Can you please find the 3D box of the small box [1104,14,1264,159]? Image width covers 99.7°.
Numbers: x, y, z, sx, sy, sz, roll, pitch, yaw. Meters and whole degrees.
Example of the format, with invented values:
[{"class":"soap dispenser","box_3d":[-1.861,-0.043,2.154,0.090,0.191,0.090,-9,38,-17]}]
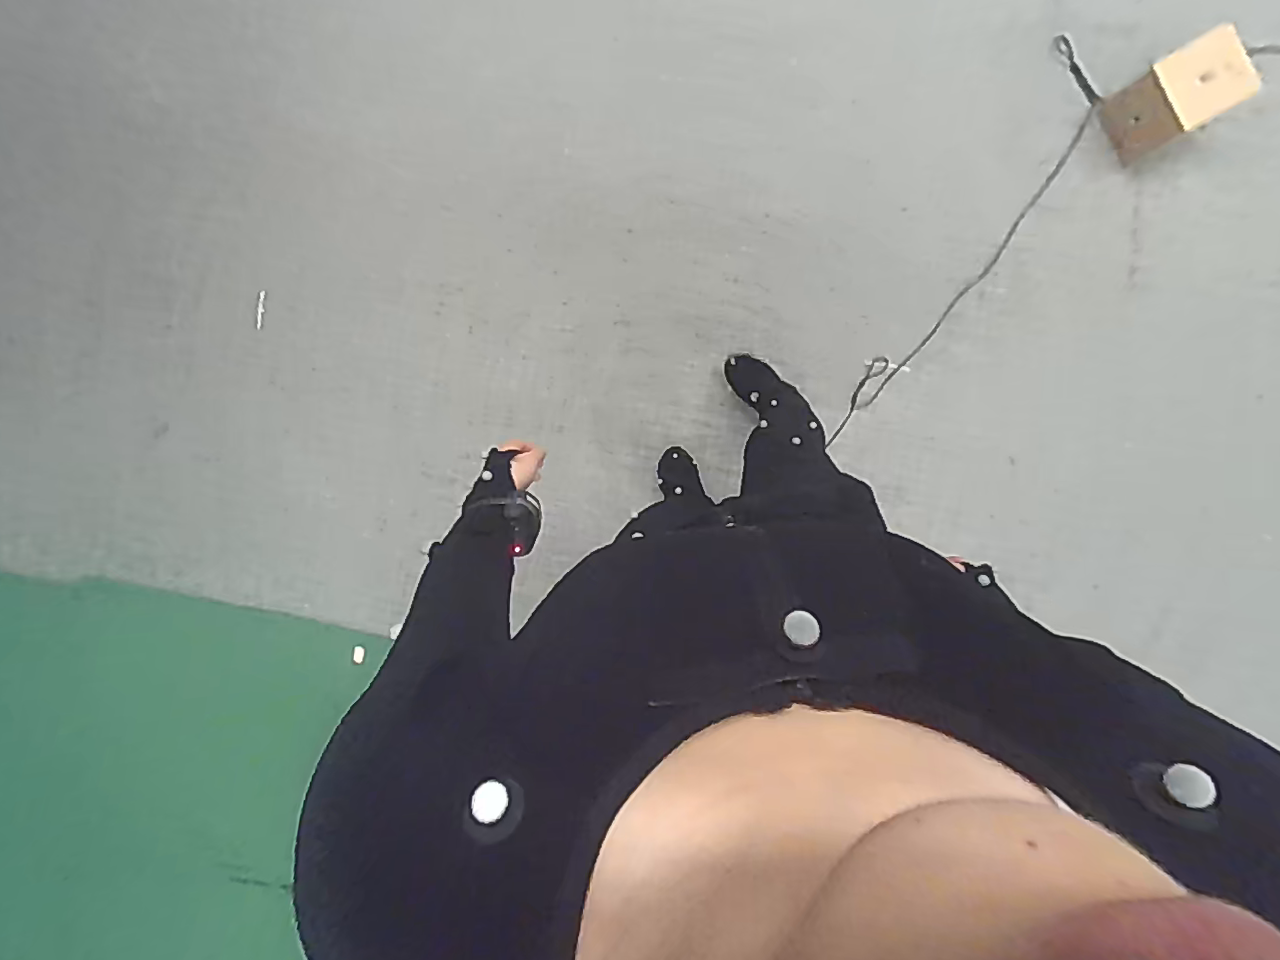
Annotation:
[{"class":"small box","box_3d":[1.218,-0.881,1.233,0.179,0.176,0.168,-29,91,6]}]
